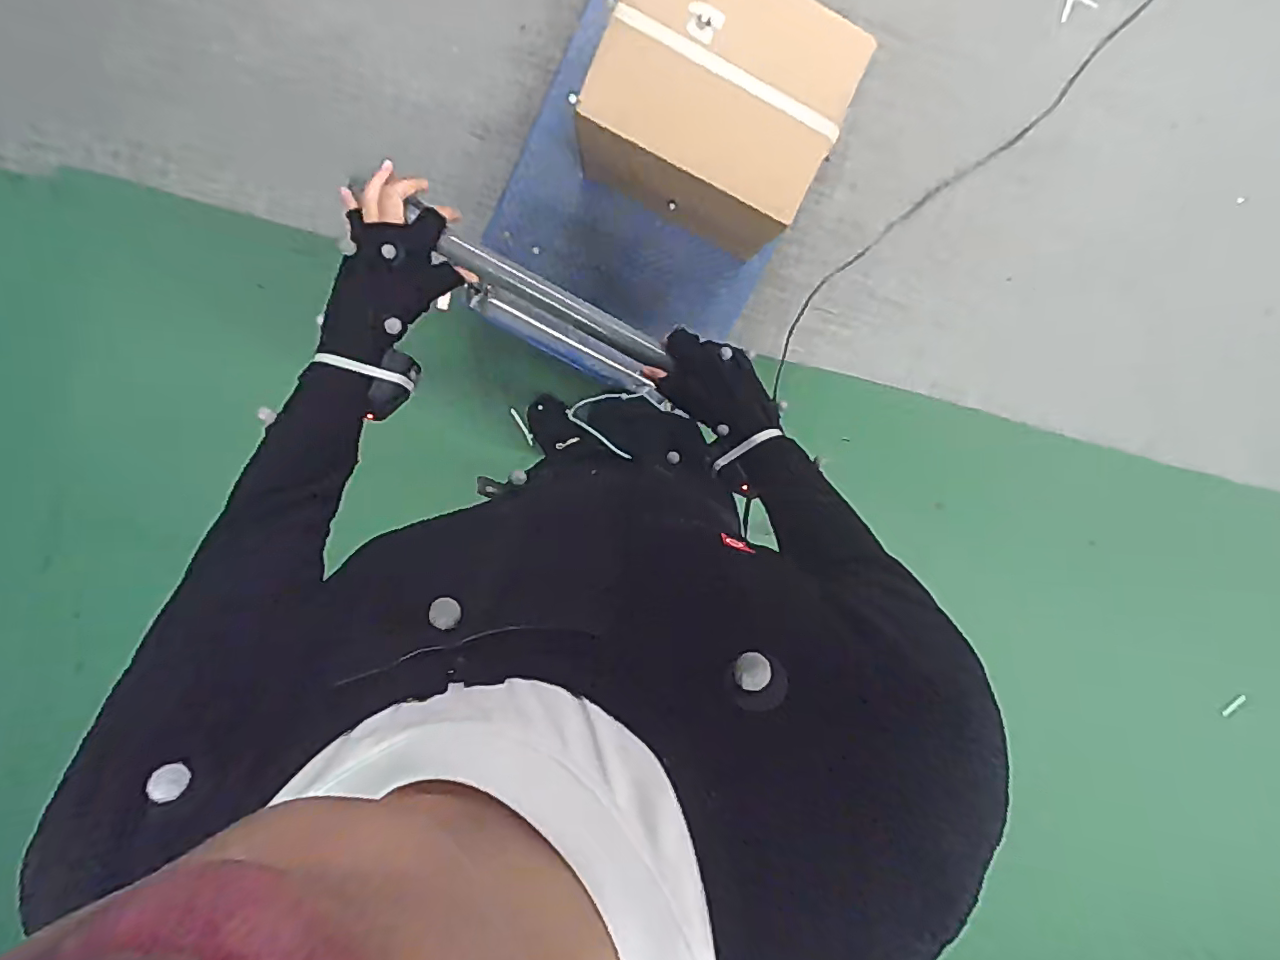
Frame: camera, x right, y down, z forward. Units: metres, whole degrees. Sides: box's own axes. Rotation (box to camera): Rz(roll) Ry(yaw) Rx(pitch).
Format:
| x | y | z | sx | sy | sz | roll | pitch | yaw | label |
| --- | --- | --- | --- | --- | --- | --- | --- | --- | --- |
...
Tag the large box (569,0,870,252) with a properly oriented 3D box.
| x | y | z | sx | sy | sz | roll | pitch | yaw | label |
| --- | --- | --- | --- | --- | --- | --- | --- | --- | --- |
| 0.124 | -0.683 | 1.009 | 0.408 | 0.320 | 0.320 | 25 | 99 | -7 | large box |
